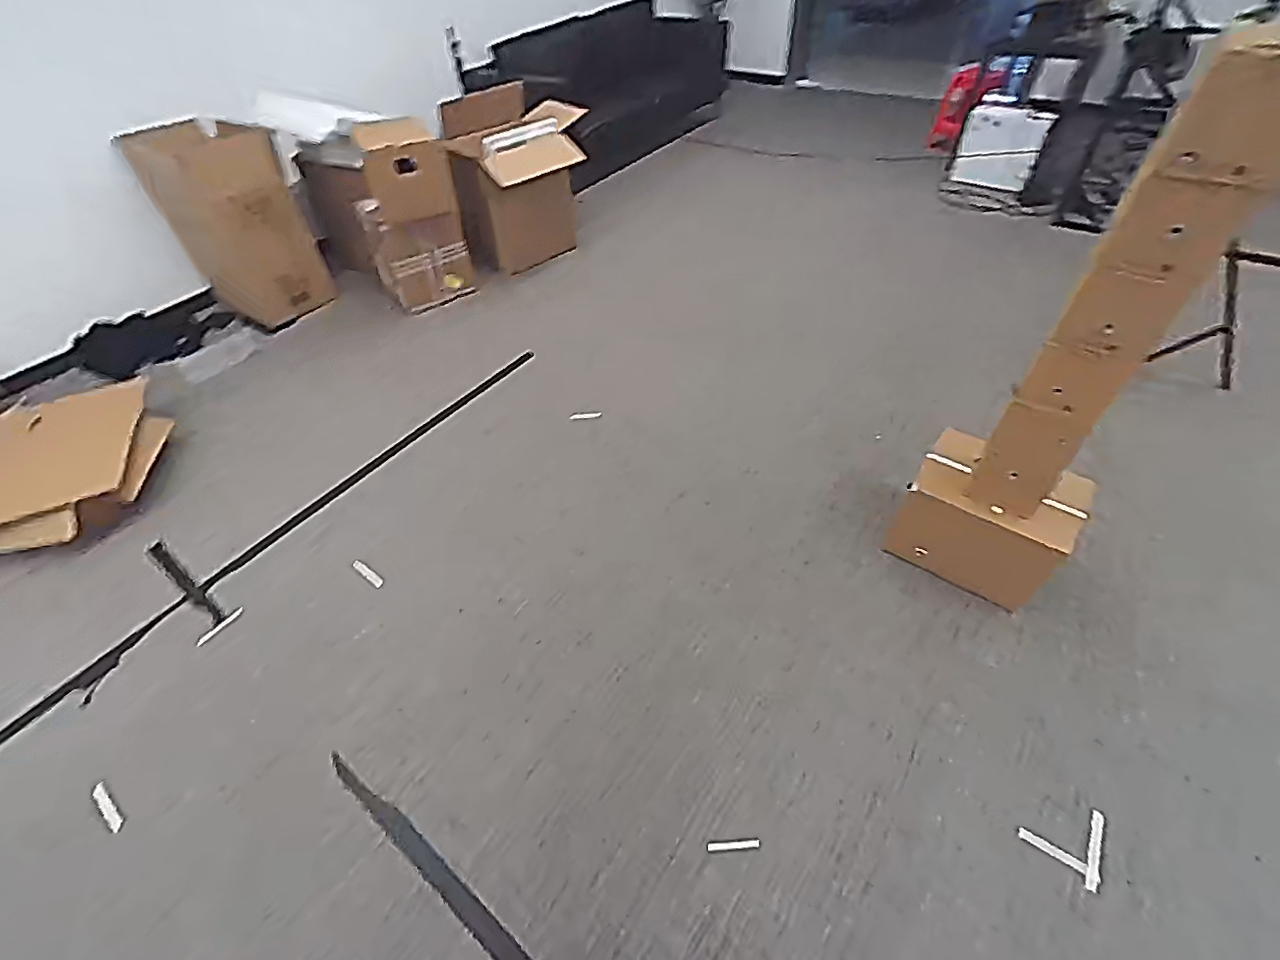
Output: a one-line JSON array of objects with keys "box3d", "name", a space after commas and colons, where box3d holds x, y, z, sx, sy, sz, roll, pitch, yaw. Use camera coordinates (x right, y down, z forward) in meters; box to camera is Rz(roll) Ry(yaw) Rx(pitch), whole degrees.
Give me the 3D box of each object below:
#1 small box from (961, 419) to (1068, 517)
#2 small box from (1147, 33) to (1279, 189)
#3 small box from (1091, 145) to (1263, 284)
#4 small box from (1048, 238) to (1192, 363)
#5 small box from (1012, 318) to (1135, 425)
[{"box3d": [1.003, -0.029, 1.459, 0.179, 0.176, 0.168, 27, 56, 24], "name": "small box"}, {"box3d": [0.957, -0.586, 0.859, 0.168, 0.176, 0.179, 25, 54, 24], "name": "small box"}, {"box3d": [0.970, -0.484, 0.988, 0.168, 0.176, 0.179, 25, 56, 24], "name": "small box"}, {"box3d": [0.976, -0.371, 1.107, 0.168, 0.176, 0.179, 25, 55, 25], "name": "small box"}, {"box3d": [0.984, -0.259, 1.227, 0.168, 0.176, 0.179, 27, 56, 25], "name": "small box"}]
